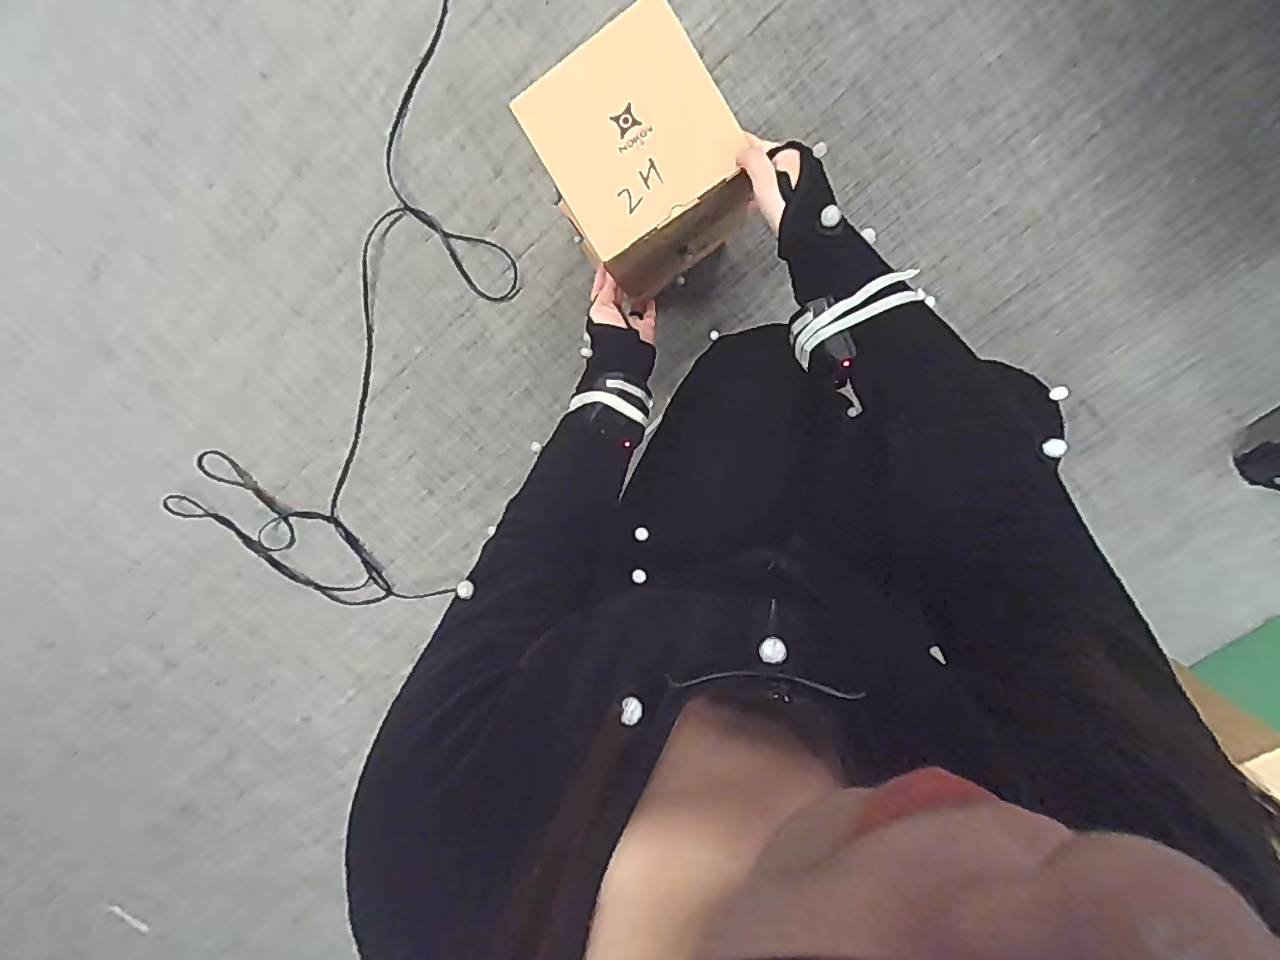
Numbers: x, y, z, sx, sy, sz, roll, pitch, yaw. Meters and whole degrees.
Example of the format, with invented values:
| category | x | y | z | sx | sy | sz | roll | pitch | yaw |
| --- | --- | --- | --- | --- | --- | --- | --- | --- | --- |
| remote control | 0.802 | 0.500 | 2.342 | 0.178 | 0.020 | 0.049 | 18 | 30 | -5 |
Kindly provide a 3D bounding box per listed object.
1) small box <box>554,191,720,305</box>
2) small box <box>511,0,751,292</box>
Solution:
| category | x | y | z | sx | sy | sz | roll | pitch | yaw |
| --- | --- | --- | --- | --- | --- | --- | --- | --- | --- |
| small box | 0.010 | -0.359 | 0.749 | 0.179 | 0.176 | 0.168 | -35 | 103 | 10 |
| small box | -0.001 | -0.328 | 0.573 | 0.168 | 0.176 | 0.179 | -30 | 94 | 11 |
